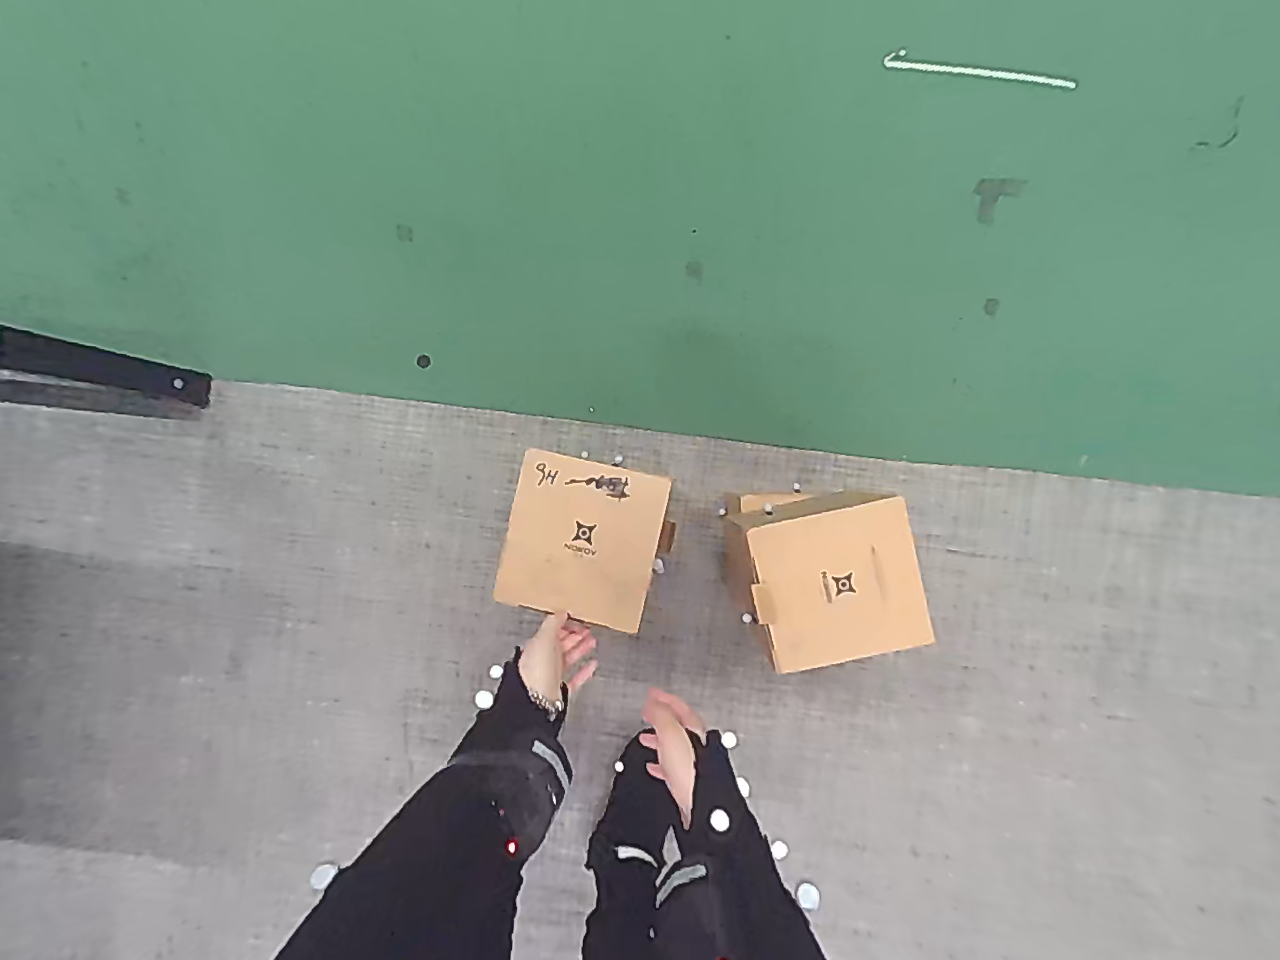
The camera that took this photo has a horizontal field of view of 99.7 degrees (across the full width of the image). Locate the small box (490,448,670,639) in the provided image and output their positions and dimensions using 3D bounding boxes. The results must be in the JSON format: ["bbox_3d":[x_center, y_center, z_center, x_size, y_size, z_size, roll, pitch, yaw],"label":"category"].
[{"bbox_3d":[-0.060,0.068,0.655,0.168,0.176,0.179,13,90,2],"label":"small box"}]

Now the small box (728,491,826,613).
[{"bbox_3d":[0.228,0.102,0.811,0.179,0.176,0.168,-1,90,1],"label":"small box"}]

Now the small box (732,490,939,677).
[{"bbox_3d":[0.215,0.111,0.649,0.179,0.176,0.168,-13,91,1],"label":"small box"}]
